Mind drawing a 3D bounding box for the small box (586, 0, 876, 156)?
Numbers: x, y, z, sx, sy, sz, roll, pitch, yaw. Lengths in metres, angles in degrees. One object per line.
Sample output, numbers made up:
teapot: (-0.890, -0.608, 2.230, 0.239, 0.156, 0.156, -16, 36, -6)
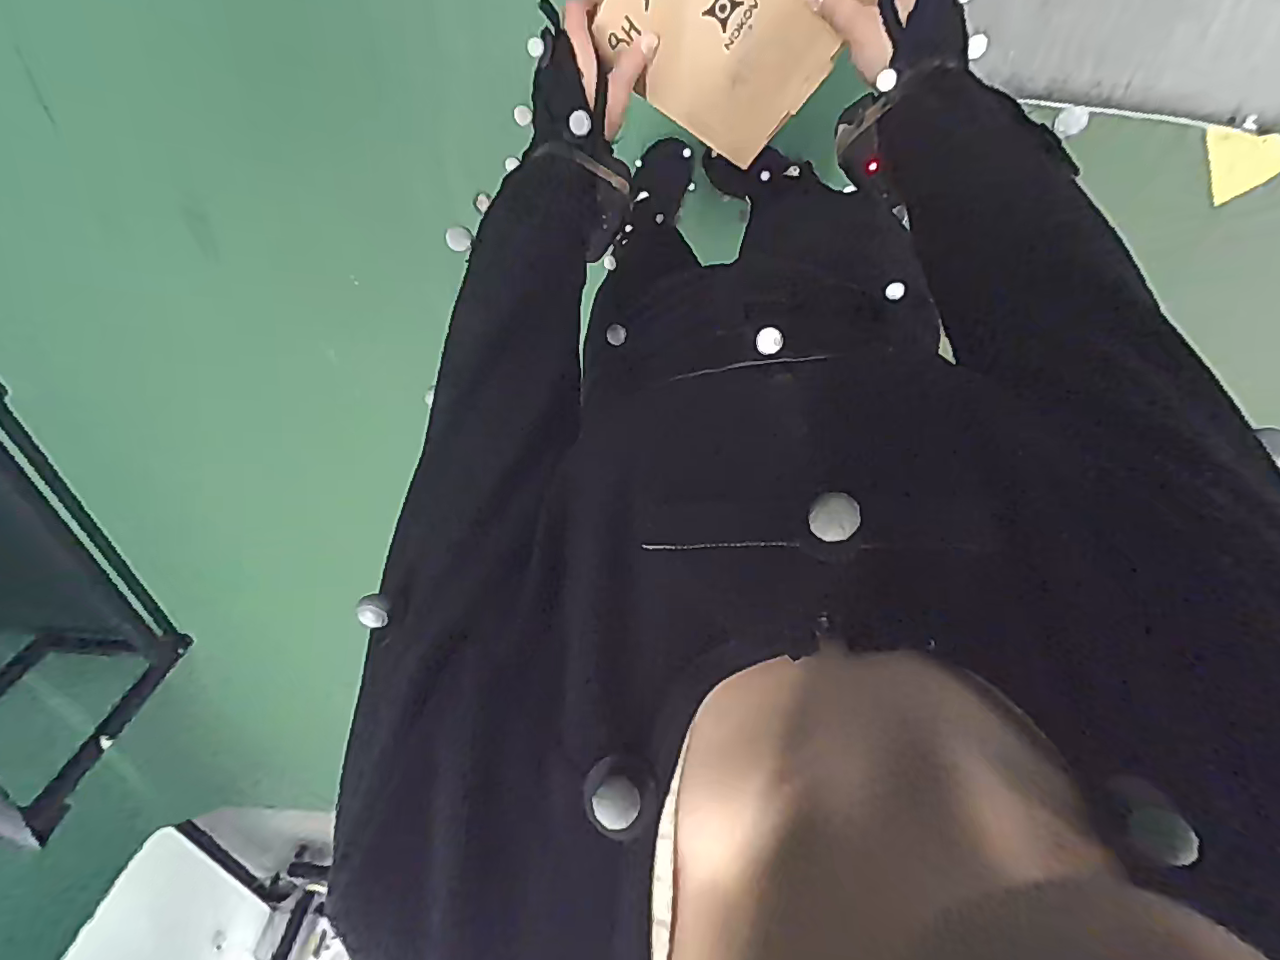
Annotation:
small box: (0.074, -0.430, 0.452, 0.179, 0.176, 0.168, 20, 144, -26)
